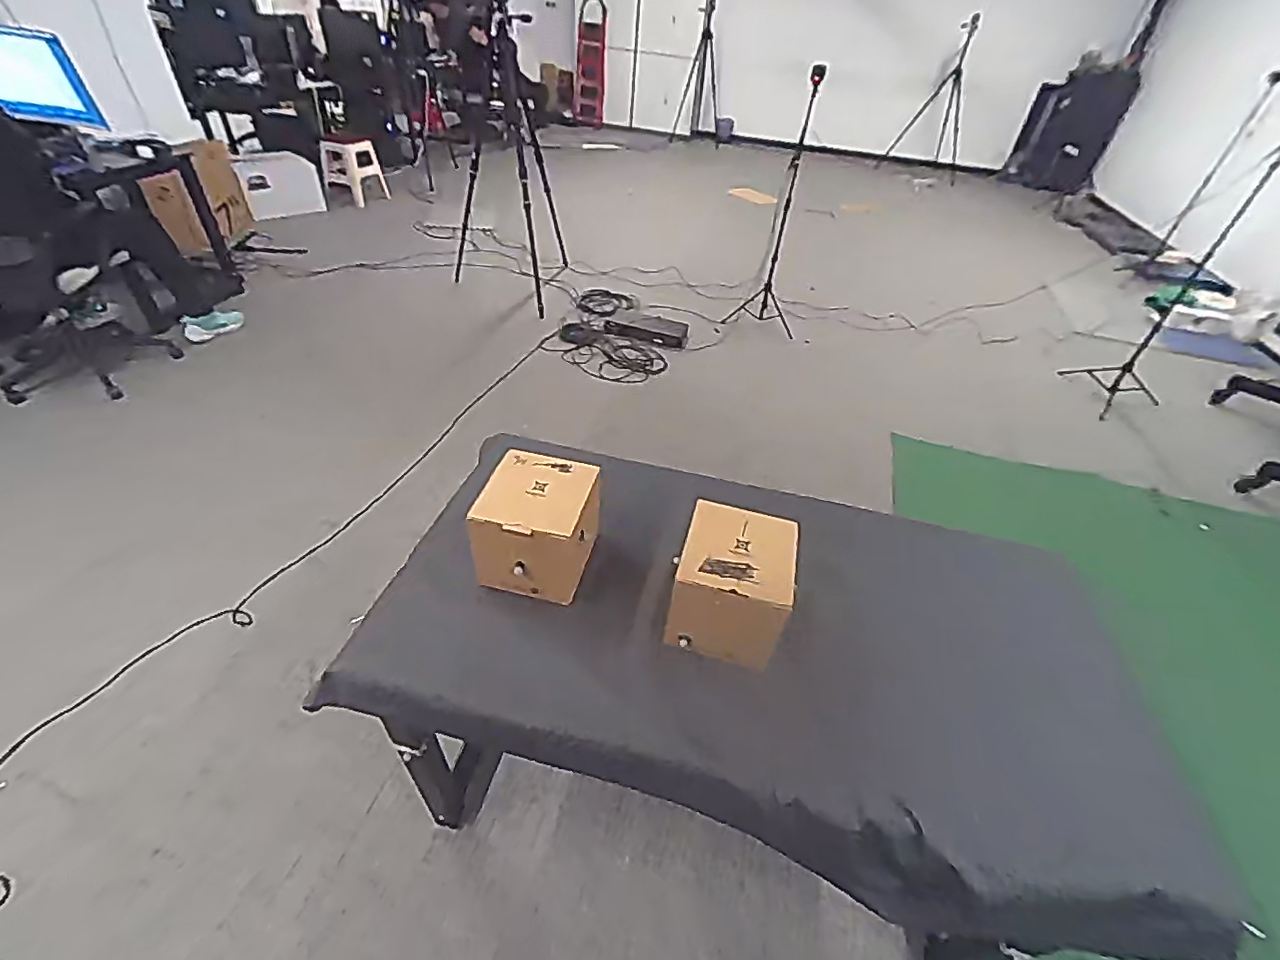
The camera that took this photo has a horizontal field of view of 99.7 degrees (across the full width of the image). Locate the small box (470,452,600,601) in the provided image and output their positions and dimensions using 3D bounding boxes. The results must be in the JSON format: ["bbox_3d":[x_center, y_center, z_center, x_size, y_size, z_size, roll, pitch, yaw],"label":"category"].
[{"bbox_3d":[-0.168,0.082,0.930,0.168,0.176,0.179,11,42,7],"label":"small box"}]

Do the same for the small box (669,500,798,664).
[{"bbox_3d":[0.146,0.165,0.866,0.168,0.176,0.179,13,41,9],"label":"small box"}]
